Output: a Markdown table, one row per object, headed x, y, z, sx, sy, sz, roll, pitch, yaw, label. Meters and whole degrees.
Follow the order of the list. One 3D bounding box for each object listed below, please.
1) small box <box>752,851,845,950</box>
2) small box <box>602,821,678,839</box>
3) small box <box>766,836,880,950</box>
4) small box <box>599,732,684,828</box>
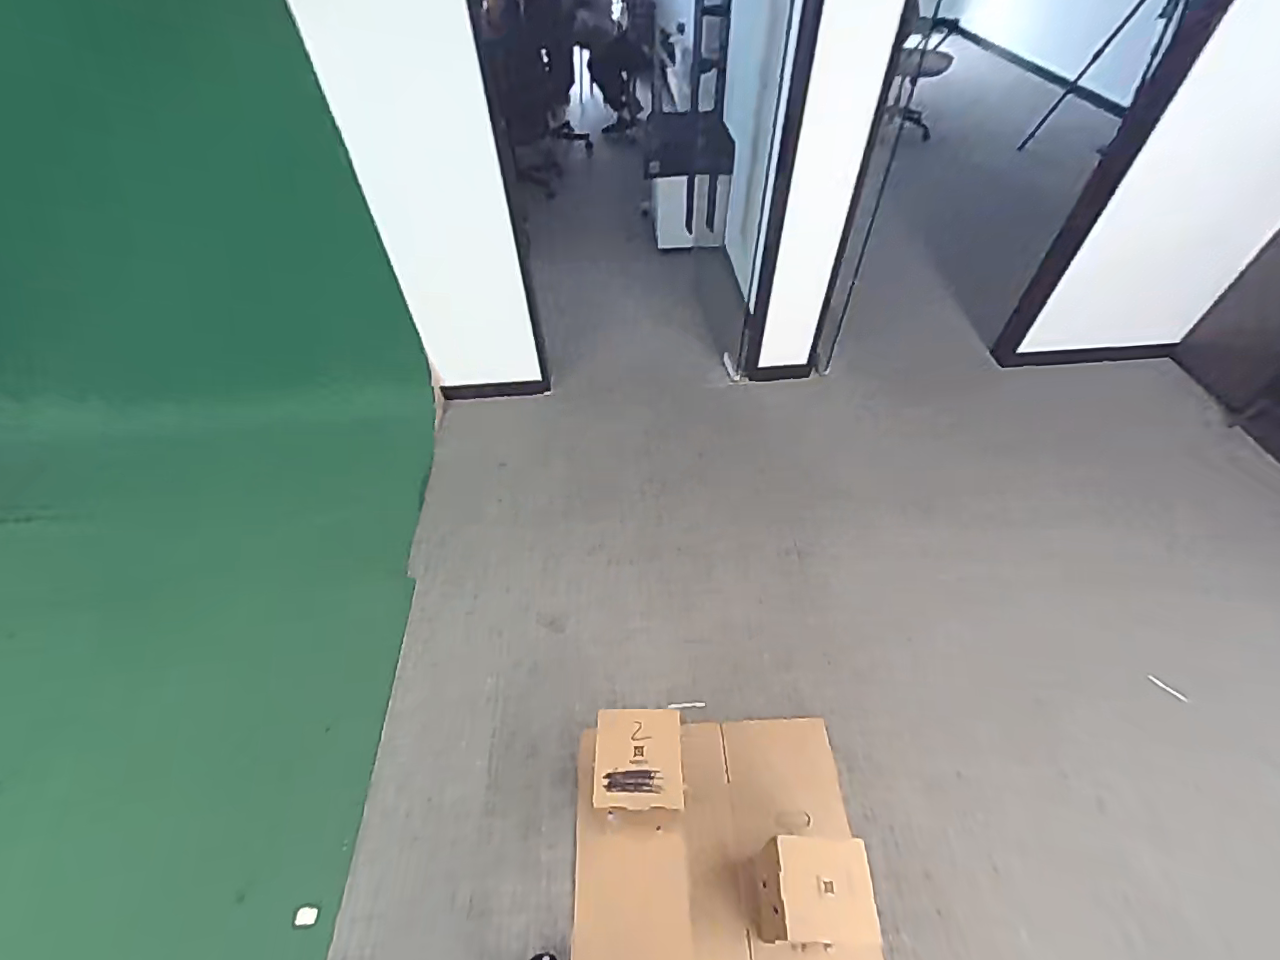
| x | y | z | sx | sy | sz | roll | pitch | yaw | label |
| --- | --- | --- | --- | --- | --- | --- | --- | --- | --- |
| 0.358 | 0.940 | 1.210 | 0.179 | 0.176 | 0.168 | 0 | 49 | 1 | small box |
| -0.001 | 0.783 | 1.346 | 0.179 | 0.176 | 0.168 | -1 | 49 | 0 | small box |
| 0.353 | 0.831 | 1.087 | 0.179 | 0.176 | 0.168 | 2 | 50 | 3 | small box |
| 0.003 | 0.679 | 1.223 | 0.179 | 0.176 | 0.168 | -1 | 50 | 0 | small box |
